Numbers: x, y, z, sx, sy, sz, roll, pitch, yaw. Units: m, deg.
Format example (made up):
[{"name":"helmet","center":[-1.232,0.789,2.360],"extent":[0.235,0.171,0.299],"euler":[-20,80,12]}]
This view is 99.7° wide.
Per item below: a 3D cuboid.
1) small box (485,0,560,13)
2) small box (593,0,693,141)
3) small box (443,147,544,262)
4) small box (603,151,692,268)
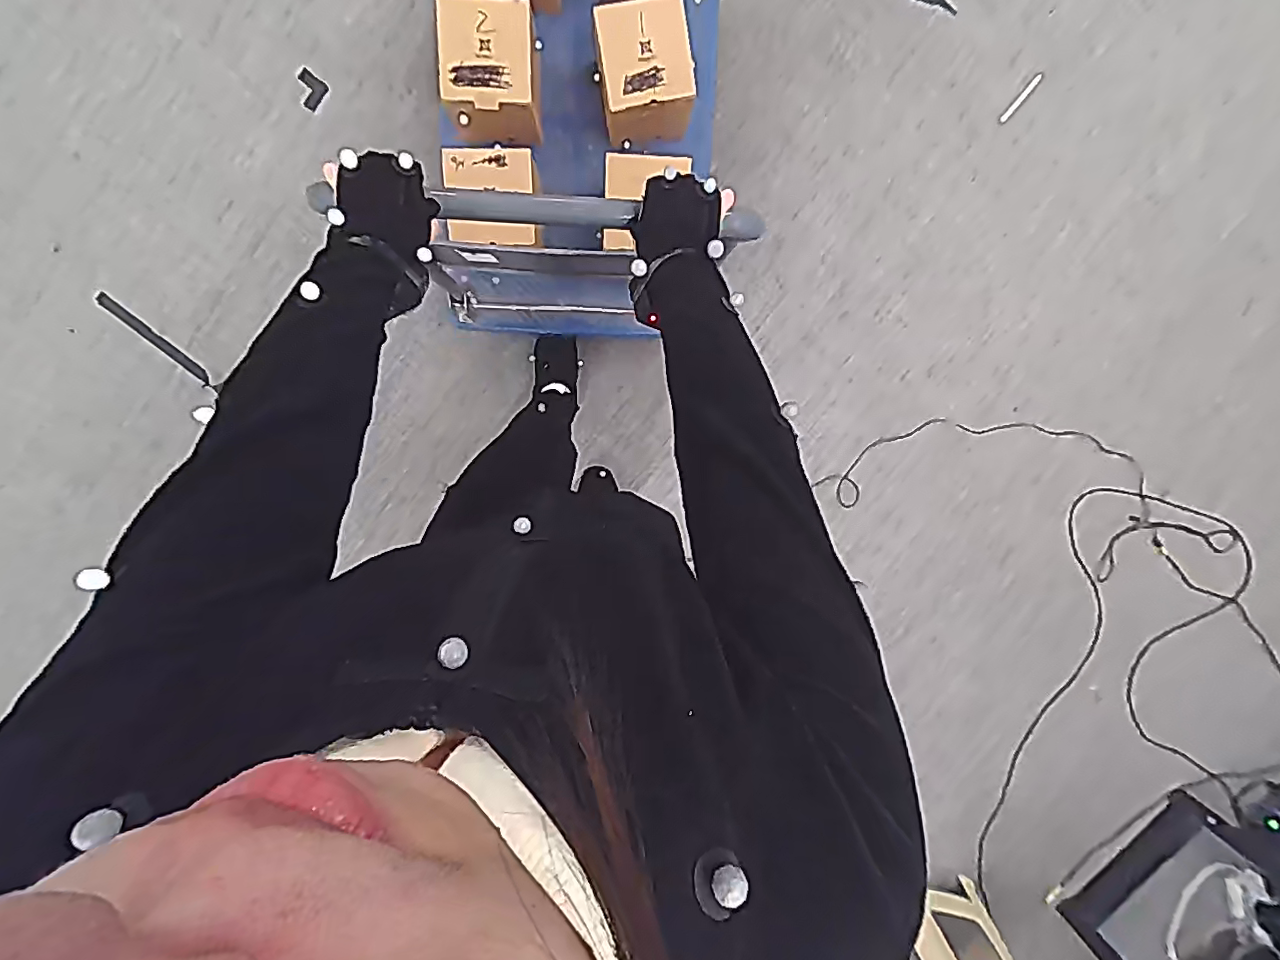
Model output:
[{"name":"small box","center":[-0.236,-1.038,1.013],"extent":[0.168,0.176,0.179],"euler":[3,101,-4]},{"name":"small box","center":[0.004,-0.801,1.071],"extent":[0.168,0.176,0.179],"euler":[-10,100,-2]},{"name":"small box","center":[-0.288,-0.549,1.098],"extent":[0.168,0.176,0.179],"euler":[-2,101,-4]},{"name":"small box","center":[0.009,-0.547,1.118],"extent":[0.168,0.176,0.179],"euler":[2,99,-4]}]
